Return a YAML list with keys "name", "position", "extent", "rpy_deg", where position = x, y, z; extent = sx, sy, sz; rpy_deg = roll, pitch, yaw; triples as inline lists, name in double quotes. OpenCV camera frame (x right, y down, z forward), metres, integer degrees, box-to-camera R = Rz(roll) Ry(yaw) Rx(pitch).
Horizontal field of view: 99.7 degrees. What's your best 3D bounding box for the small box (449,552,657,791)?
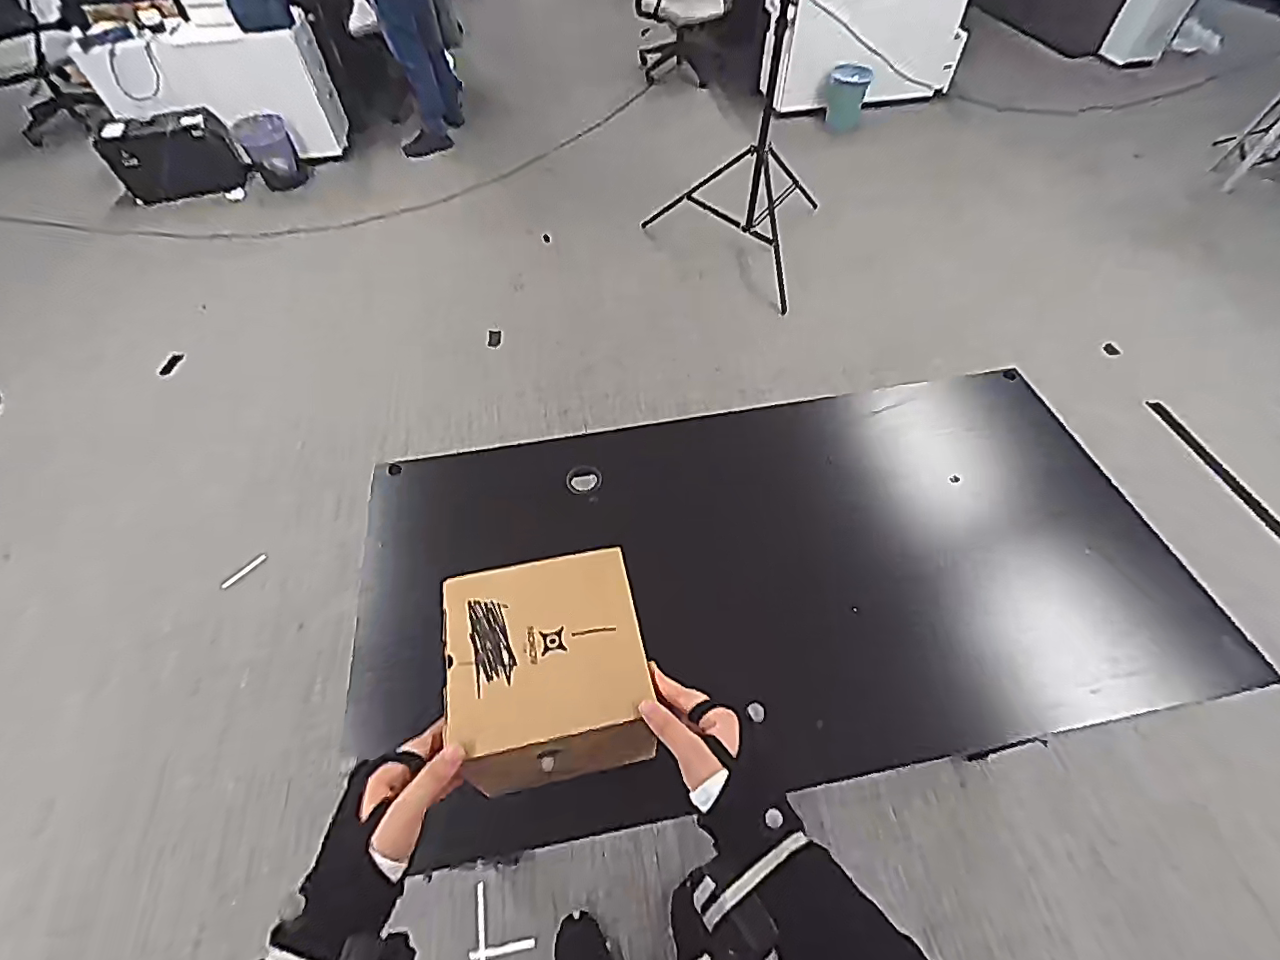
- name: "small box"
  position: [-0.084, 0.199, 0.554]
  extent: [0.179, 0.176, 0.168]
  rpy_deg: [-10, 53, -8]
